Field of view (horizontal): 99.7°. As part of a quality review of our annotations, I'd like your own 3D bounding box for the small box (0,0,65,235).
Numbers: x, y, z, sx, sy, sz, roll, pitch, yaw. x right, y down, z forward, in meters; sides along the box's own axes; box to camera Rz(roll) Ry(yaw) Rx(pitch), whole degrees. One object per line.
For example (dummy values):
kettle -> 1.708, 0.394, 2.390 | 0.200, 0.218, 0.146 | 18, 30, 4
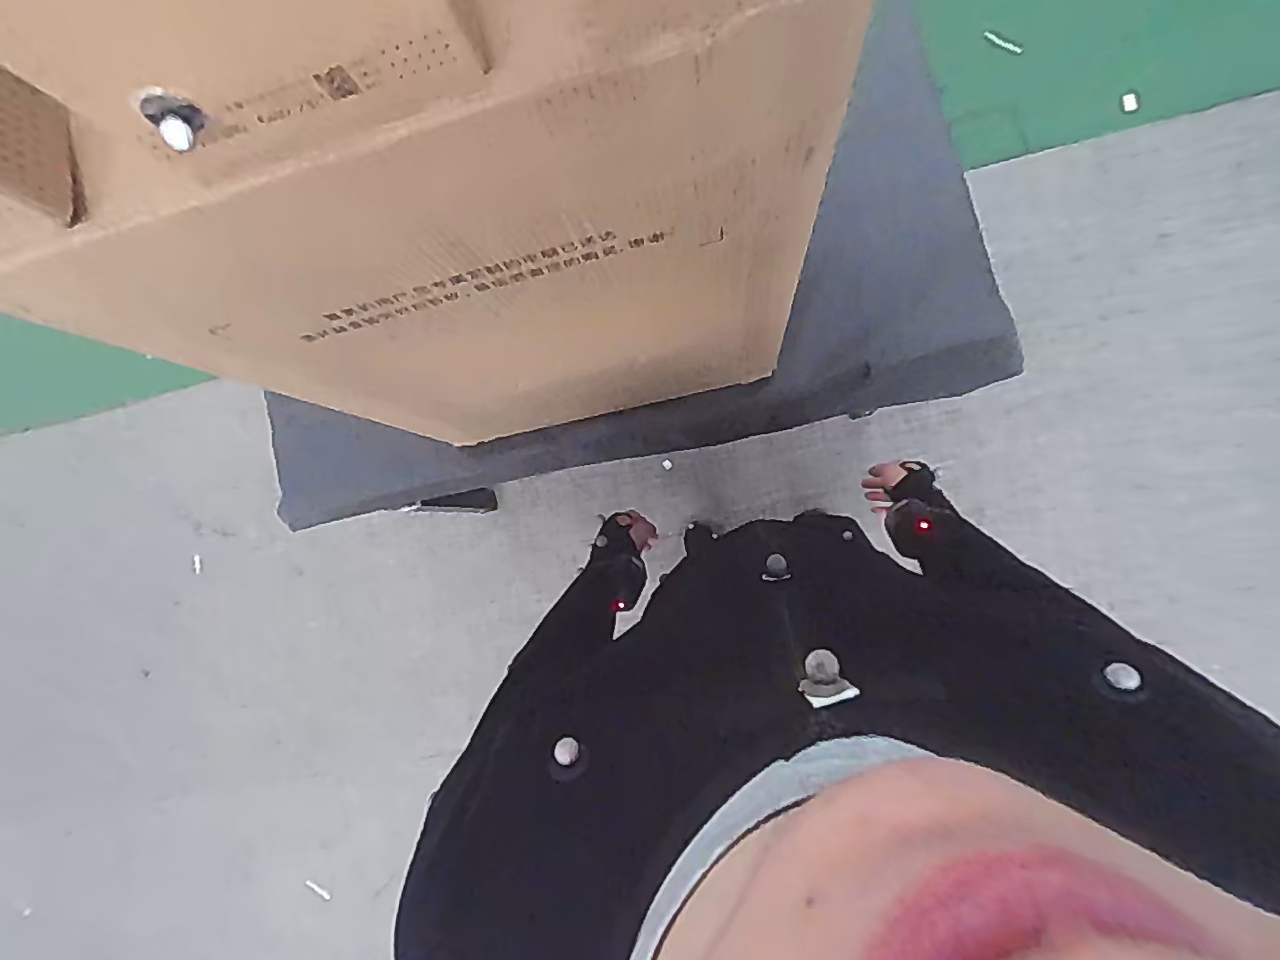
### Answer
small box -> -0.392, -0.212, 0.216 | 0.168, 0.176, 0.179 | -10, 84, 11
